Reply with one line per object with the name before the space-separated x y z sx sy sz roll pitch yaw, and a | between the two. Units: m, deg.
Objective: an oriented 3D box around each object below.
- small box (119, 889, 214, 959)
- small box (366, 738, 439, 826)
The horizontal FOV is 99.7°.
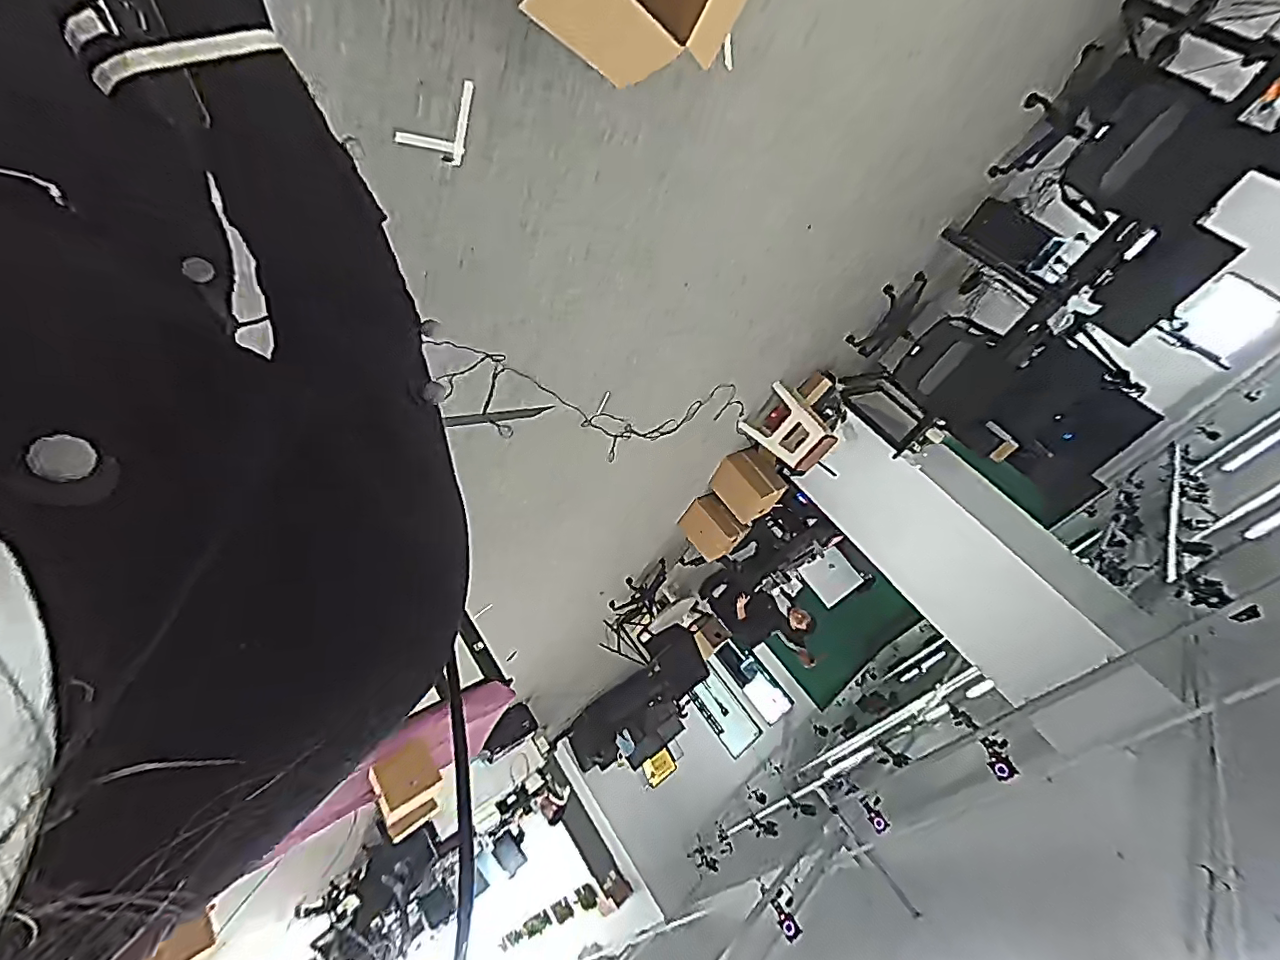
small box | -1.344 1.322 1.536 0.179 0.176 0.168 -15 146 -44
small box | -0.794 0.999 1.796 0.179 0.176 0.168 -20 150 -40
